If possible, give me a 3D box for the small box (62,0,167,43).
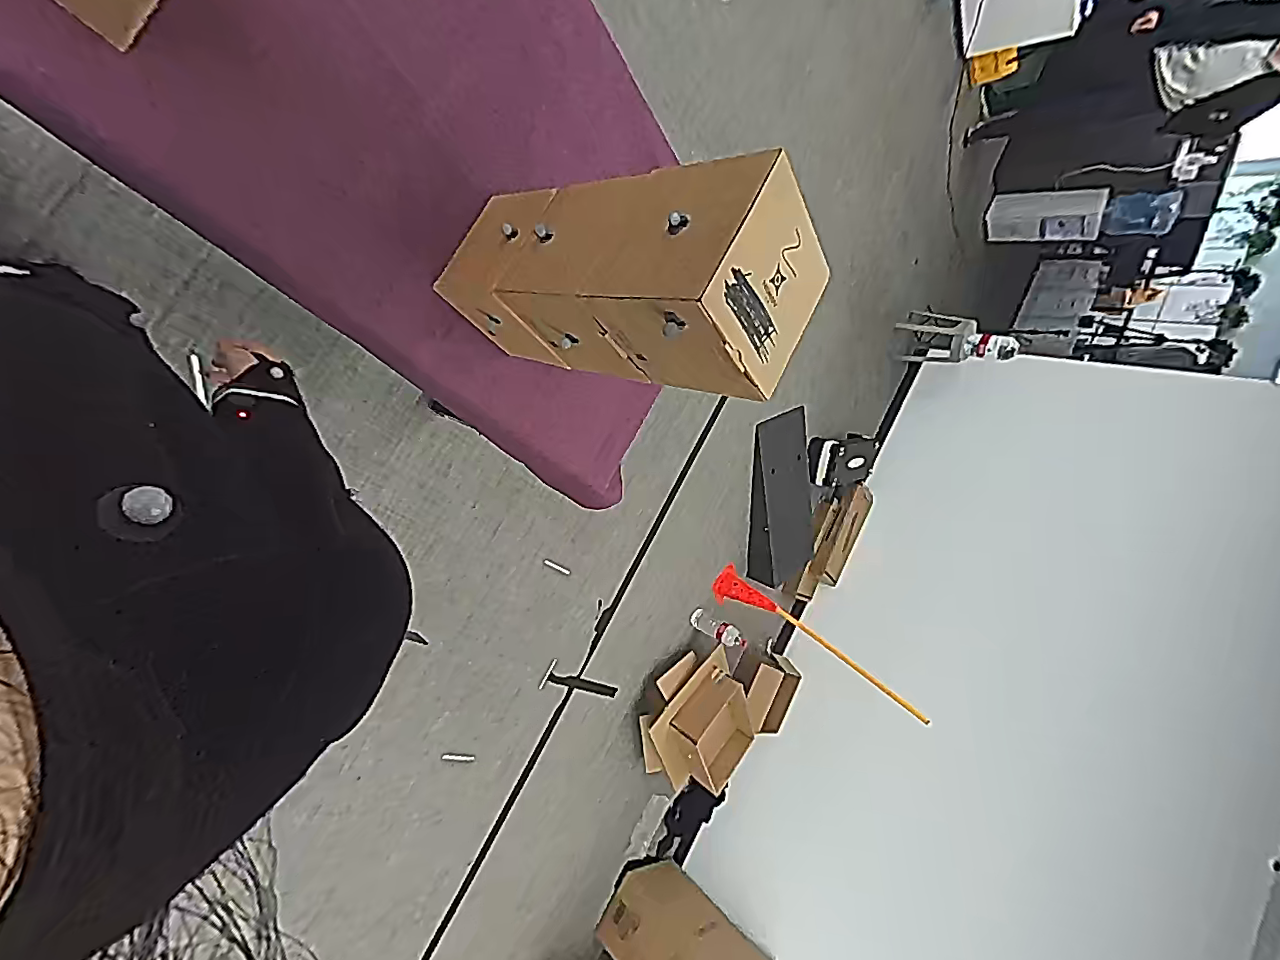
[{"bbox_3d":[-0.440,-0.491,0.414,0.168,0.176,0.179,34,79,-50],"label":"small box"}]

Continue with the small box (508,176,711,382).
[{"bbox_3d":[-0.044,-0.255,0.702,0.168,0.176,0.179,41,75,-48],"label":"small box"}]

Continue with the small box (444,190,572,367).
[{"bbox_3d":[-0.163,-0.295,0.807,0.168,0.176,0.179,40,75,-48],"label":"small box"}]
